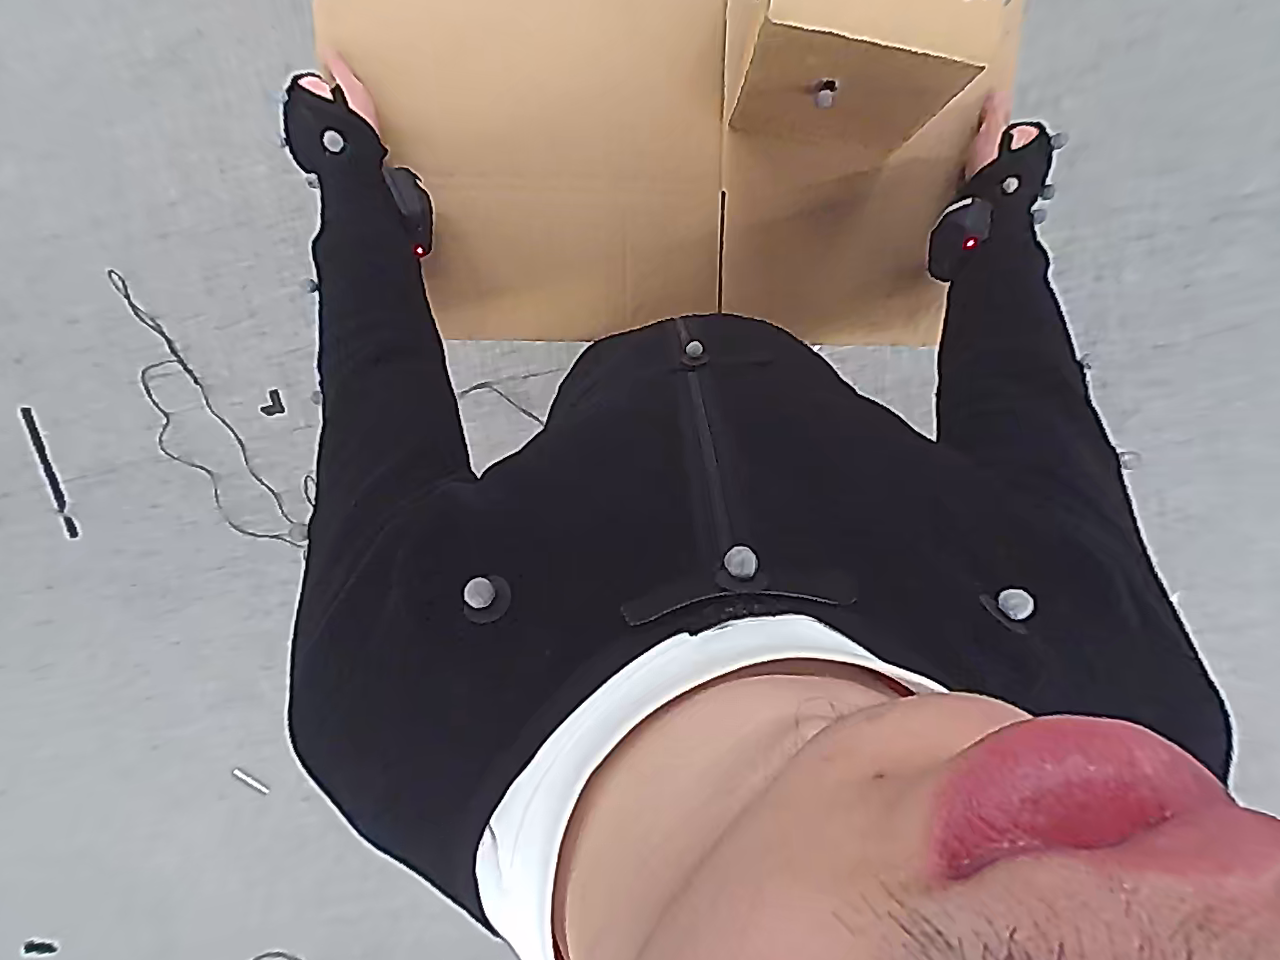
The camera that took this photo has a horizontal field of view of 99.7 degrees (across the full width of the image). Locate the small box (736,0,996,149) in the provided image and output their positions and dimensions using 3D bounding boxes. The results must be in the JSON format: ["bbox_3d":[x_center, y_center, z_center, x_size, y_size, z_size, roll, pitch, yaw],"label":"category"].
[{"bbox_3d":[0.193,-0.425,0.480,0.179,0.176,0.168,10,100,-1],"label":"small box"}]
